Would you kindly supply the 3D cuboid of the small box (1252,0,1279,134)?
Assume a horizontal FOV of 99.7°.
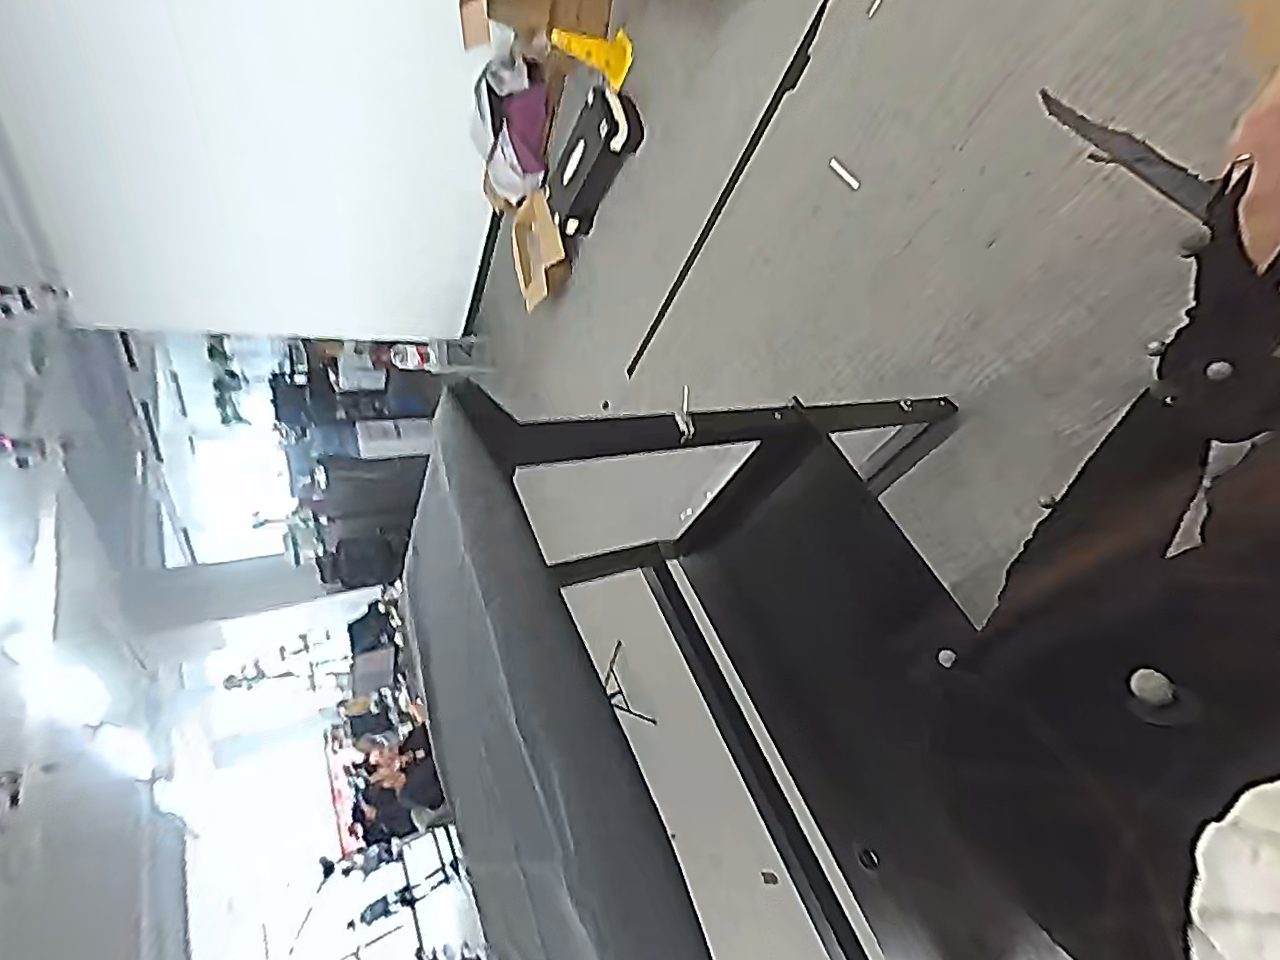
[{"bbox_3d":[0.470,-0.309,0.273,0.168,0.176,0.179,-6,87,26],"label":"small box"}]
